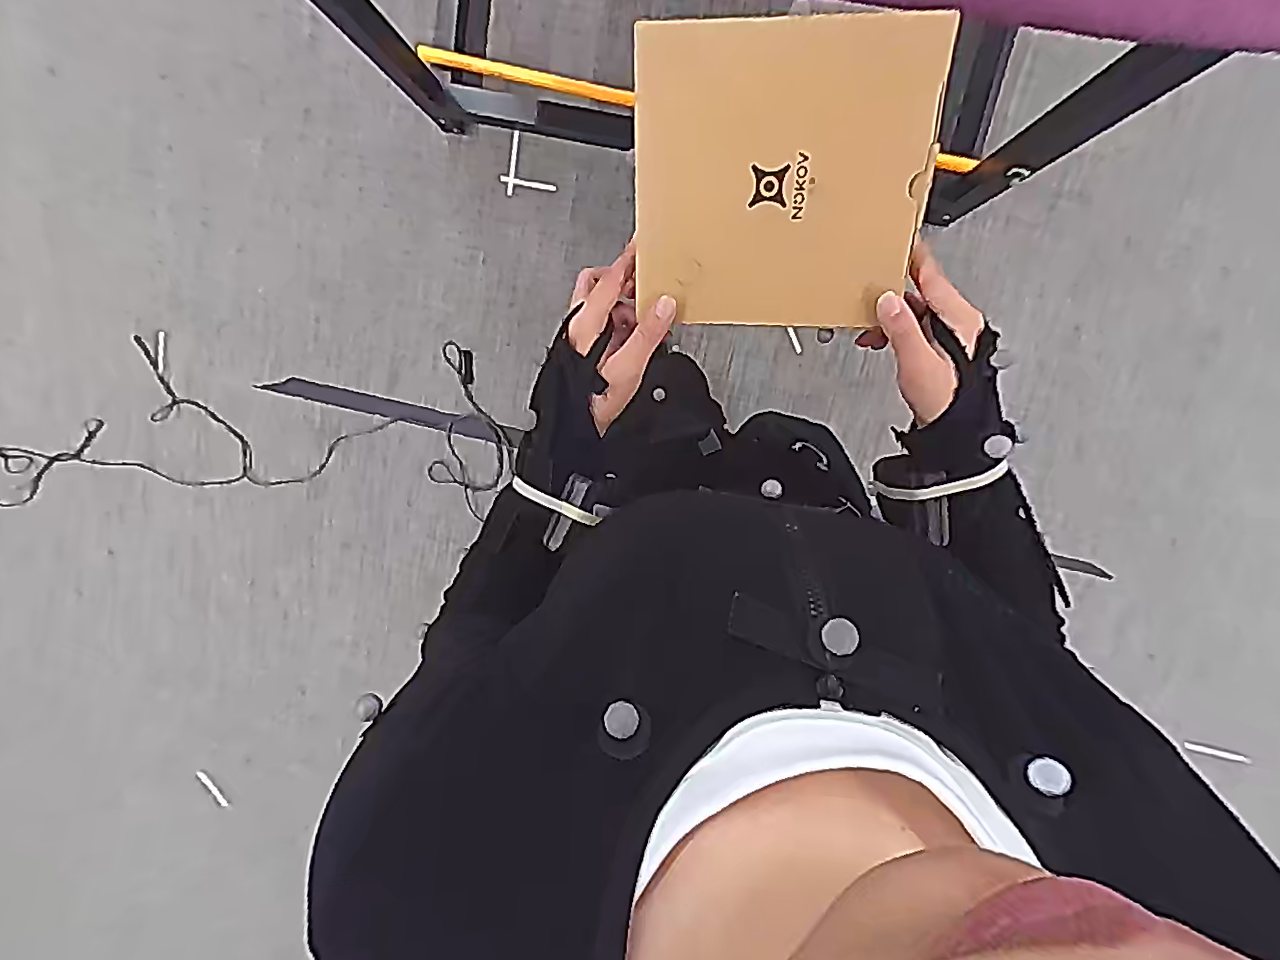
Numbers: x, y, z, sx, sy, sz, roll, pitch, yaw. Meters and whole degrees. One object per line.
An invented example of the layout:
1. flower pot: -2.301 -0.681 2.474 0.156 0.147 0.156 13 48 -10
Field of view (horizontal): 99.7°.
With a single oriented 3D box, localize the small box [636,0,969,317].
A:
1. small box: 0.094 -0.216 0.394 0.179 0.176 0.168 3 115 5
